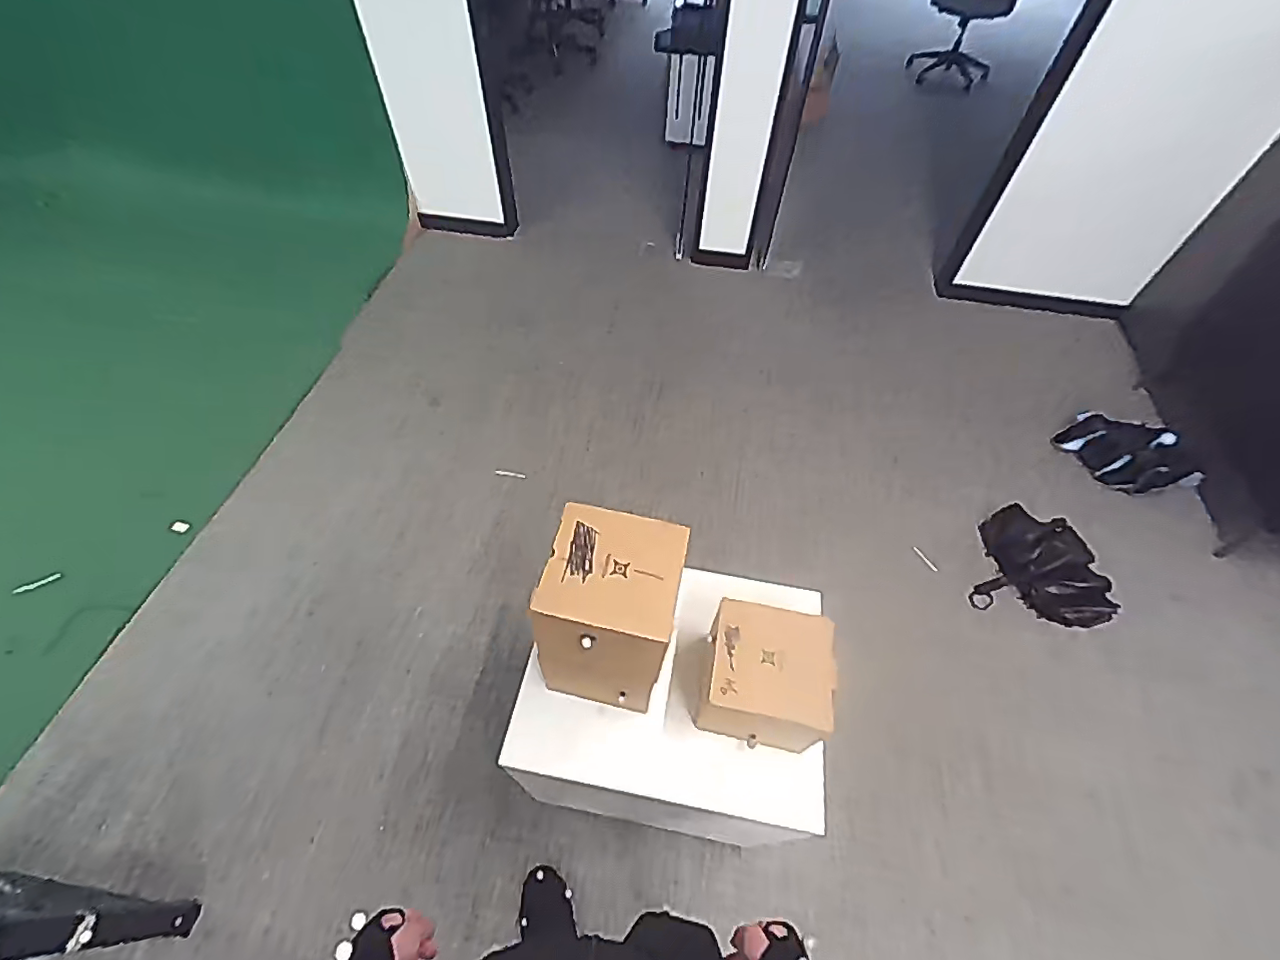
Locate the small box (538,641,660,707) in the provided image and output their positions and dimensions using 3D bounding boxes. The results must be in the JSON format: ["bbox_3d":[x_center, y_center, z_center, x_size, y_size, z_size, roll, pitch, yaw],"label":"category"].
[{"bbox_3d":[-0.050,0.252,0.875,0.179,0.176,0.168,11,53,4],"label":"small box"}]

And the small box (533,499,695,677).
[{"bbox_3d":[-0.034,0.154,0.744,0.179,0.176,0.168,13,54,3],"label":"small box"}]

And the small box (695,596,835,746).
[{"bbox_3d":[0.193,0.307,0.854,0.179,0.176,0.168,11,55,5],"label":"small box"}]
